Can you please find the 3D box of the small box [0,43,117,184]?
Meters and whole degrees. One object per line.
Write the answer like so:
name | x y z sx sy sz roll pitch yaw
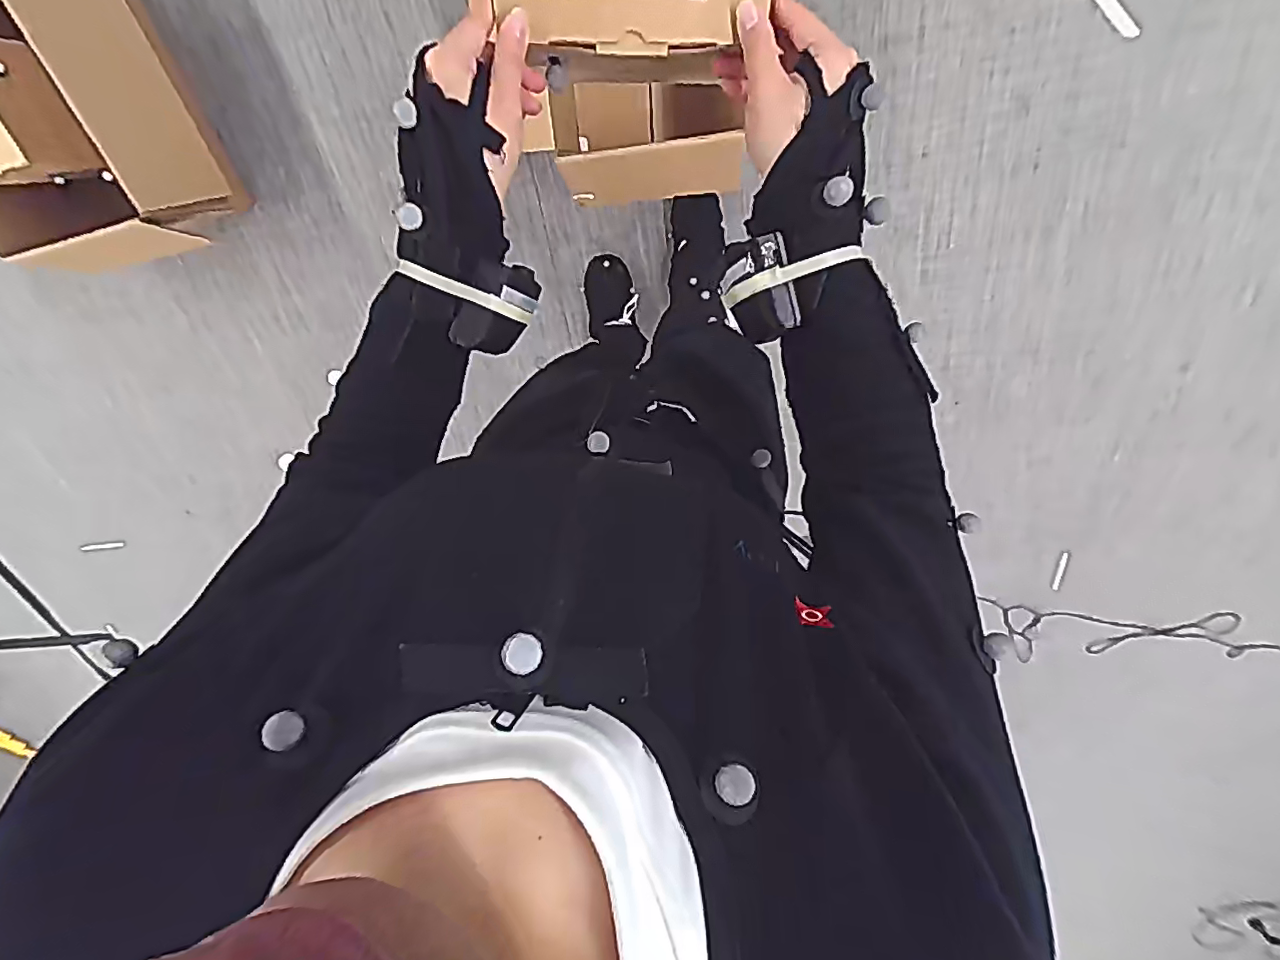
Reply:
small box | -1.053 -0.600 0.894 0.168 0.176 0.179 -9 120 9
